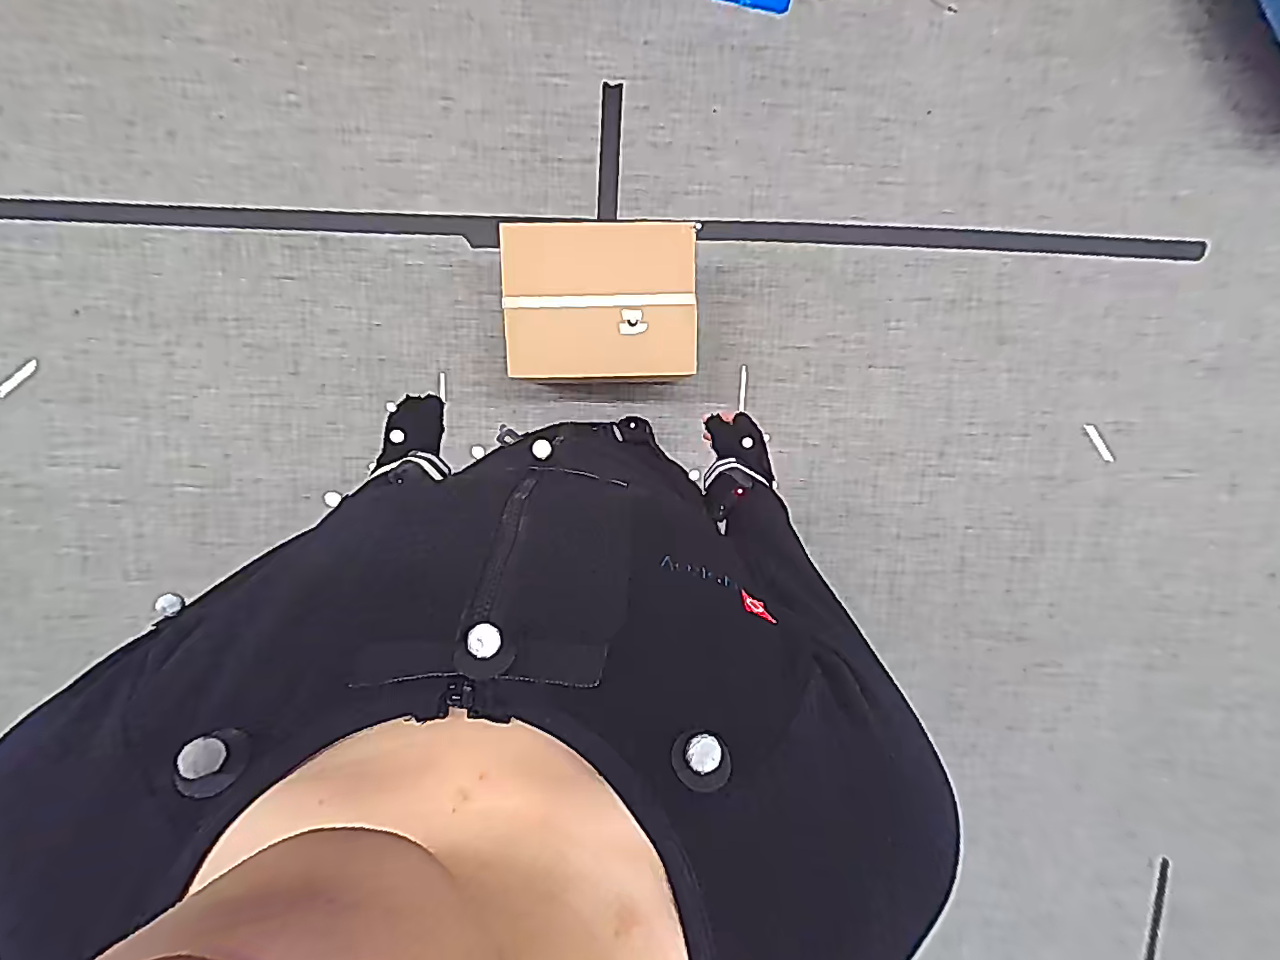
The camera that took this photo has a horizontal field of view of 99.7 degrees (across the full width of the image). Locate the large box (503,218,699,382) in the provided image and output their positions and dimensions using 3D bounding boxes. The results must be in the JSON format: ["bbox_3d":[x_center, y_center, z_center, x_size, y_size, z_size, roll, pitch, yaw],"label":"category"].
[{"bbox_3d":[-0.087,-0.402,1.277,0.408,0.320,0.320,-2,99,-3],"label":"large box"}]
